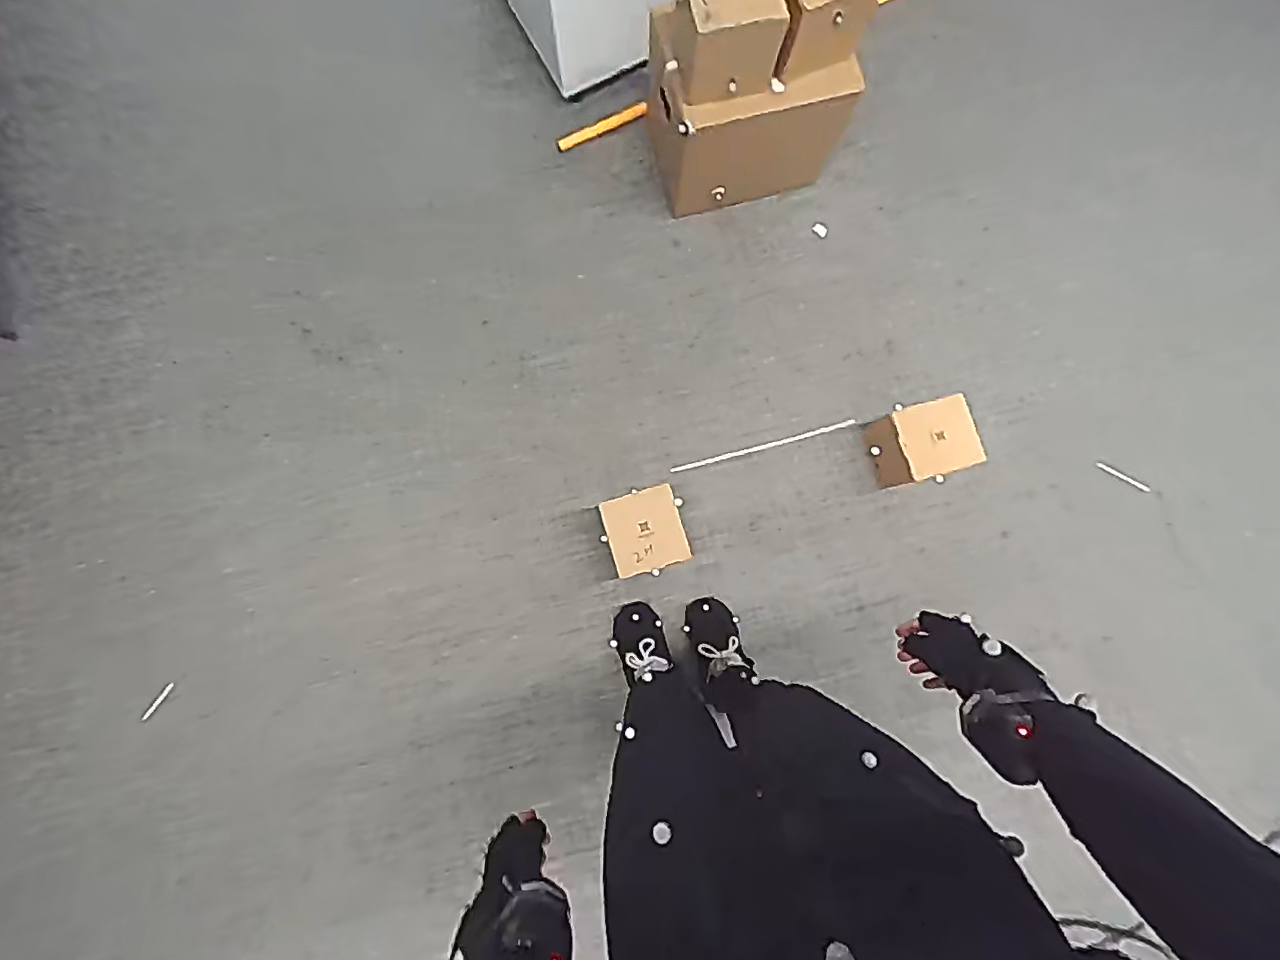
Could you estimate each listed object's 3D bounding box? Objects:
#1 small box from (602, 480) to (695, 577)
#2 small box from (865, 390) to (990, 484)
[{"bbox_3d":[0.016,0.114,1.239,0.168,0.176,0.179,-17,84,-2],"label":"small box"},{"bbox_3d":[0.667,-0.095,1.272,0.179,0.176,0.168,-16,84,-2],"label":"small box"}]
